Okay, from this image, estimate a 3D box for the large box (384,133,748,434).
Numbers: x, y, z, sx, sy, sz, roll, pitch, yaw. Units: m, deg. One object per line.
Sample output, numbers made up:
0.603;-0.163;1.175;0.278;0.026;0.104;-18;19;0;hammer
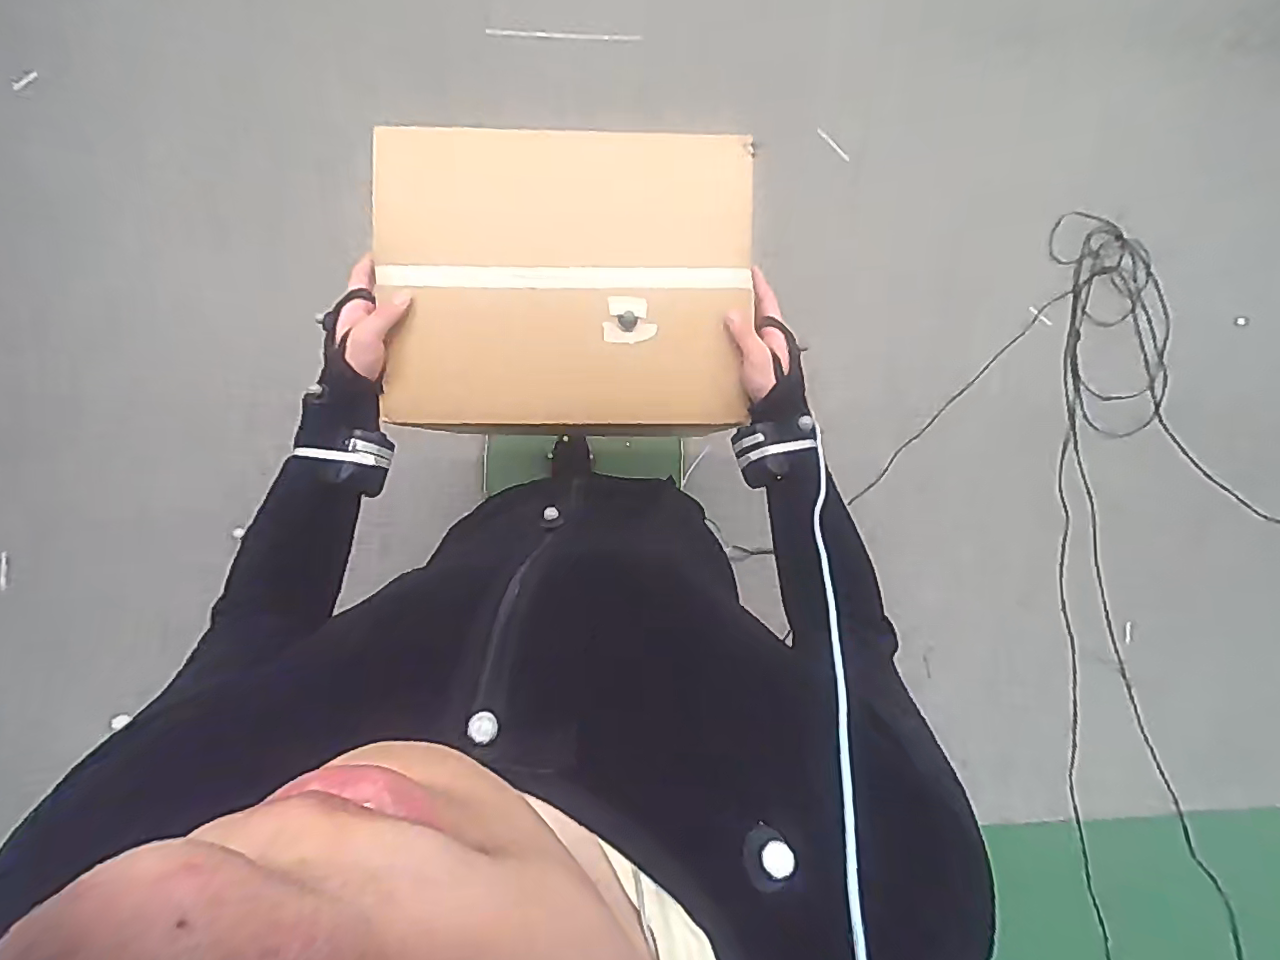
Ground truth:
-0.087;-0.229;0.746;0.408;0.320;0.320;0;93;-3;large box
